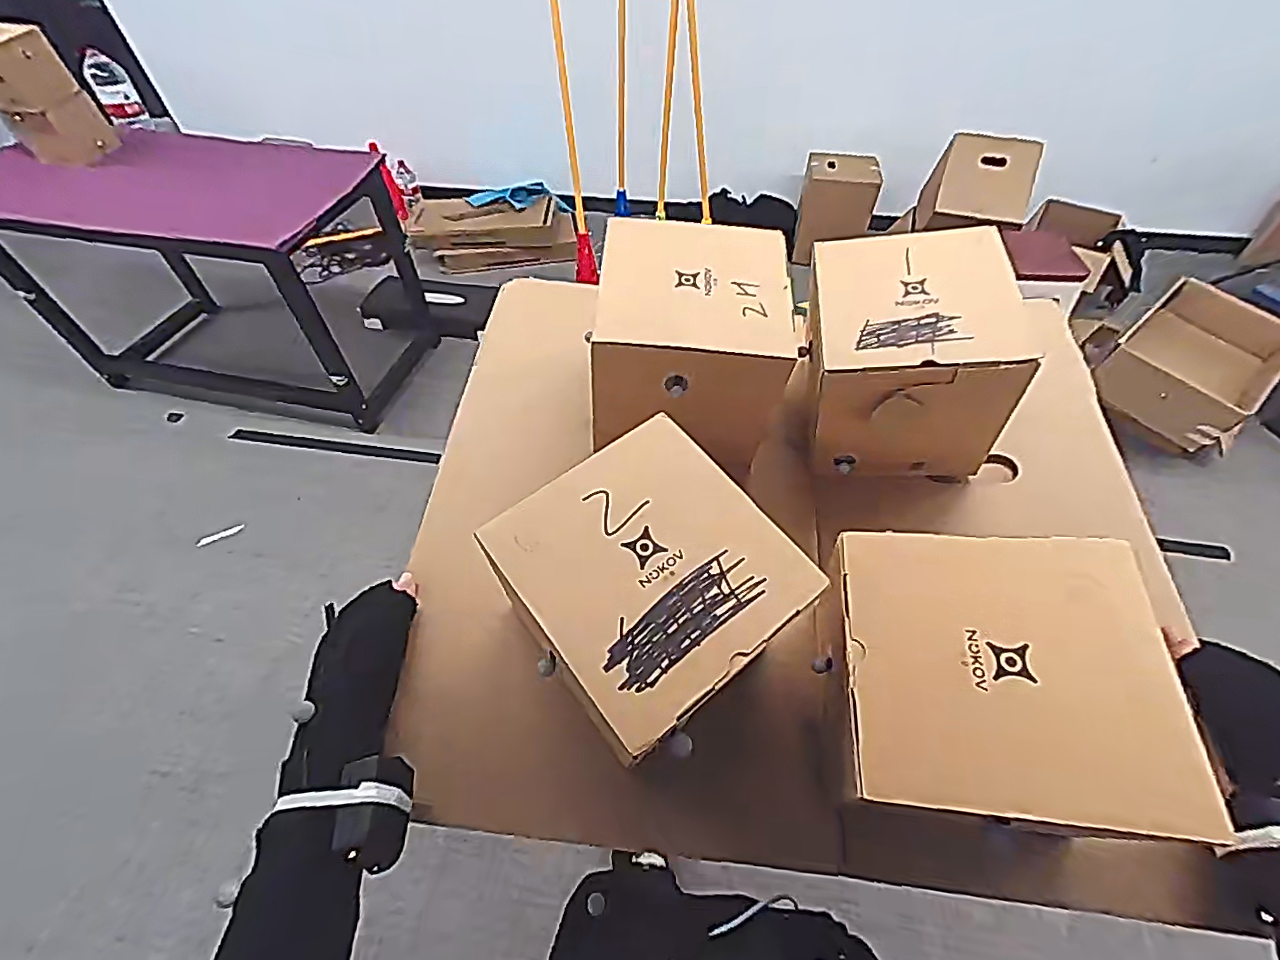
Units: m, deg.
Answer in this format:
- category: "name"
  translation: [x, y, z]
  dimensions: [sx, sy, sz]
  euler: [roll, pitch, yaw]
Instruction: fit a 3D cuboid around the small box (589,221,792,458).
- category: "small box"
  translation: [0.045, -0.137, 0.562]
  dimensions: [0.179, 0.176, 0.168]
  euler: [6, 61, -1]
